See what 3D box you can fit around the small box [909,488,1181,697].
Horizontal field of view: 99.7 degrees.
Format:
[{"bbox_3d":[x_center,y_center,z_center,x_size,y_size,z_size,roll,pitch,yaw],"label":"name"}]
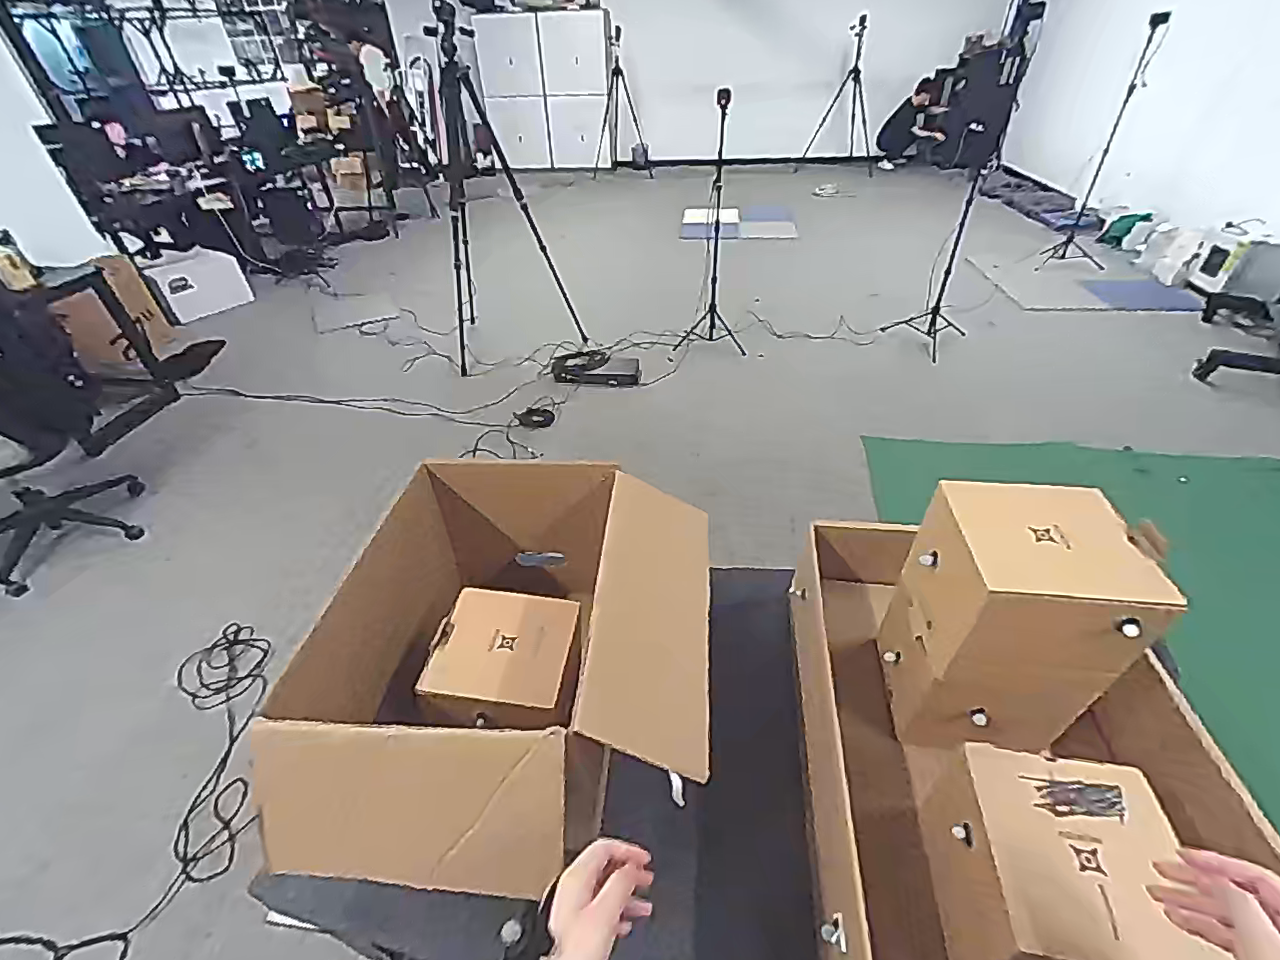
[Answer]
[{"bbox_3d":[0.428,0.128,0.618,0.179,0.176,0.168,3,41,7],"label":"small box"}]
